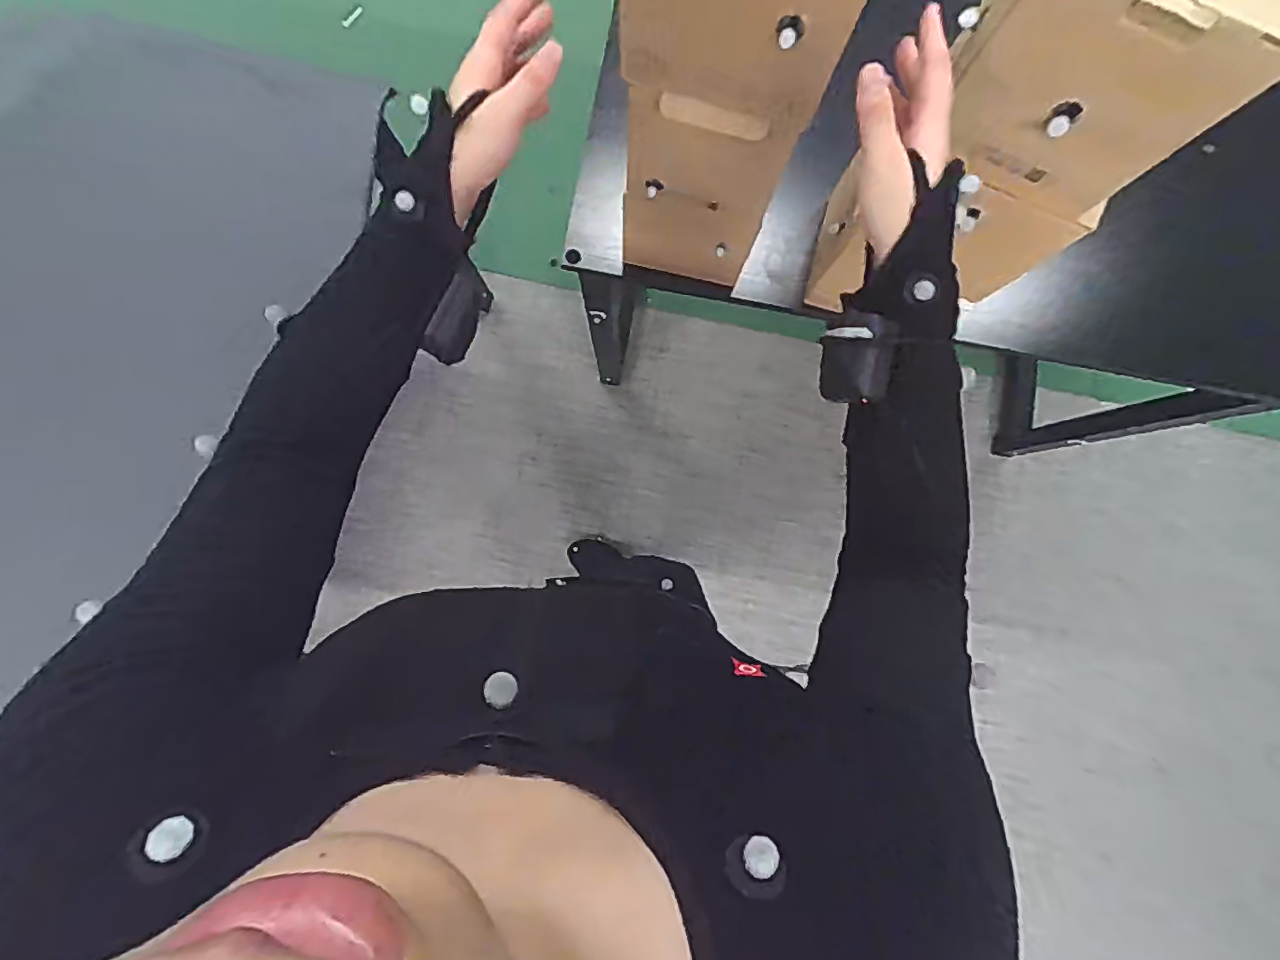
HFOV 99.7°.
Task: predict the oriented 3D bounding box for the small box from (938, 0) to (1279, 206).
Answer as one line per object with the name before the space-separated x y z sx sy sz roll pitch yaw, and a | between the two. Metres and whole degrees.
small box | 0.362 -0.349 0.406 0.168 0.176 0.179 26 87 2

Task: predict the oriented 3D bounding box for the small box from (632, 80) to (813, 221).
small box | 0.092 -0.409 0.568 0.168 0.176 0.179 14 84 -1

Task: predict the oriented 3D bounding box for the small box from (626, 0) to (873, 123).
small box | 0.093 -0.413 0.405 0.179 0.176 0.168 15 84 0

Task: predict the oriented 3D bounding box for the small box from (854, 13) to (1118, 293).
small box | 0.362 -0.322 0.567 0.179 0.176 0.168 24 86 1

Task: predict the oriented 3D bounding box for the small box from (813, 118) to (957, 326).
small box | 0.352 -0.331 0.731 0.168 0.176 0.179 15 85 0
